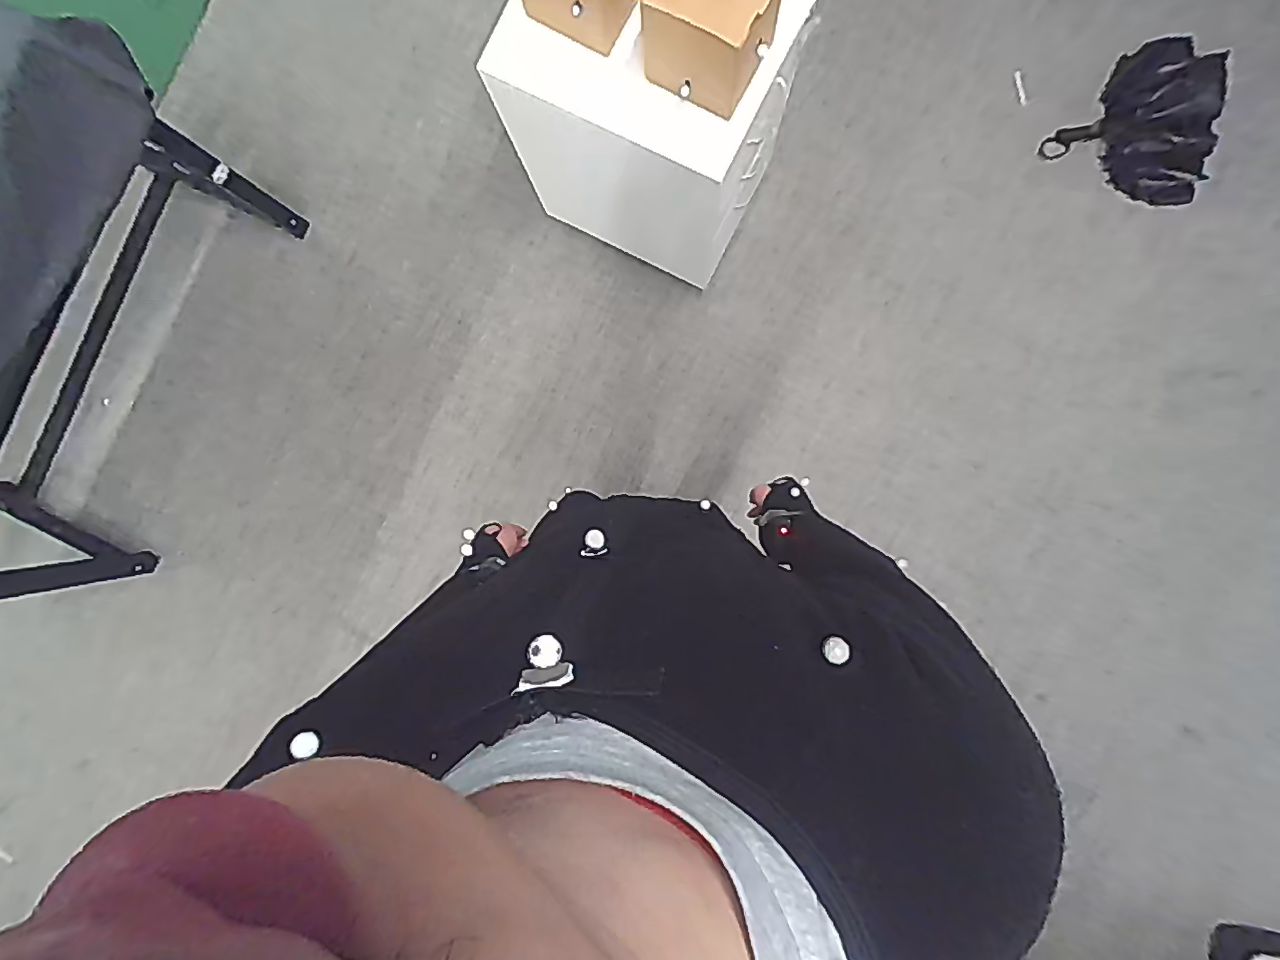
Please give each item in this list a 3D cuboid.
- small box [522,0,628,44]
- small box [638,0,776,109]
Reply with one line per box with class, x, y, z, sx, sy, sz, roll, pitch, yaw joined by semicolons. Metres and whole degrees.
small box;-0.103;-0.879;0.890;0.179;0.176;0.168;28;90;2
small box;0.113;-0.755;0.880;0.179;0.176;0.168;29;92;1
